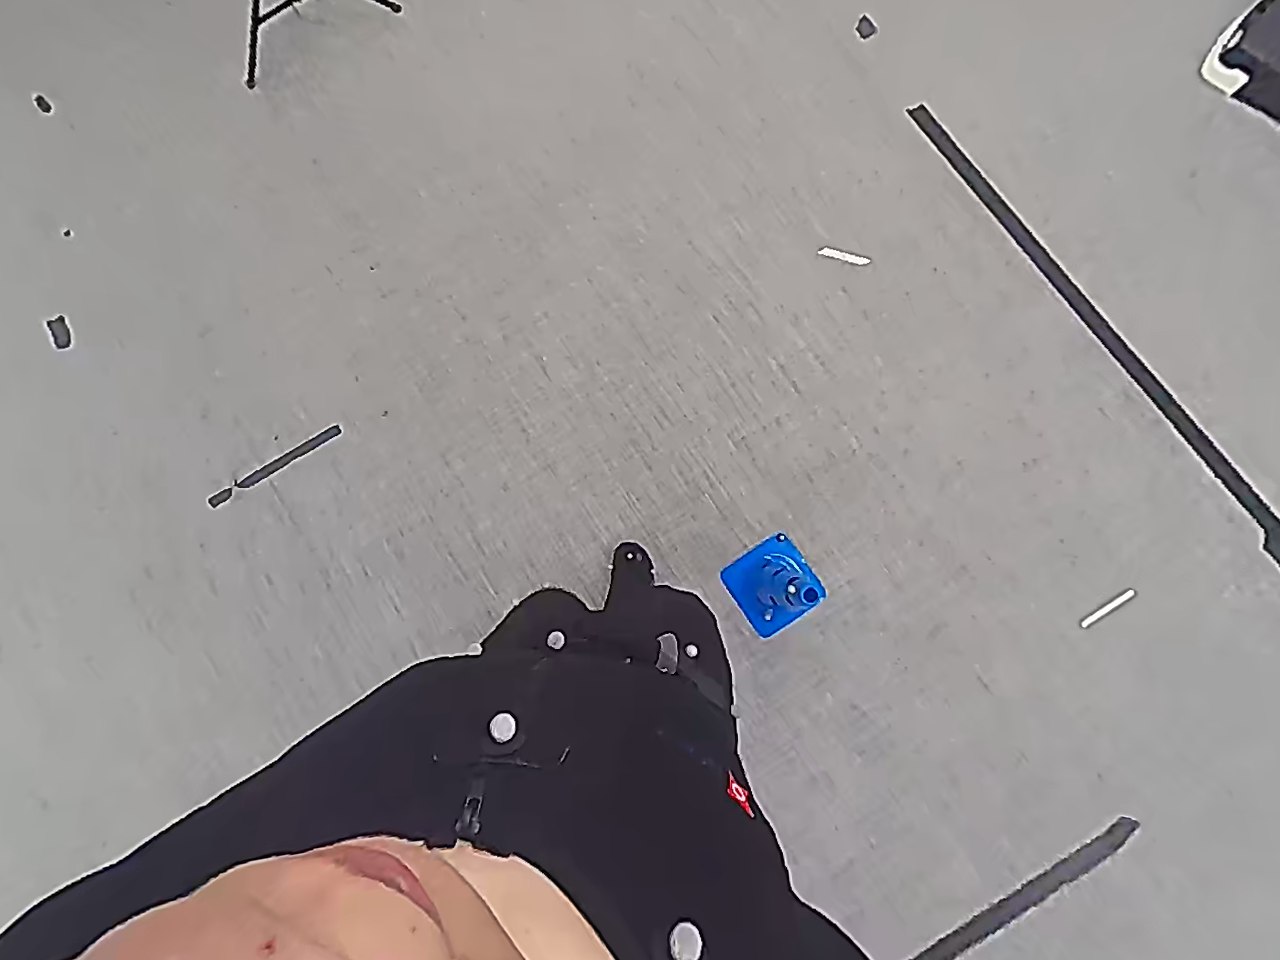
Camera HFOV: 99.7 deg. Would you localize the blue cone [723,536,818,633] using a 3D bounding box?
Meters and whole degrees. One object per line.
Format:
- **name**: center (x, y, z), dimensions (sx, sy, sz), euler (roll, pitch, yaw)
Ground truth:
- **blue cone**: center (0.312, 0.235, 1.164), dimensions (0.193, 0.380, 0.192), euler (-32, 81, -2)
